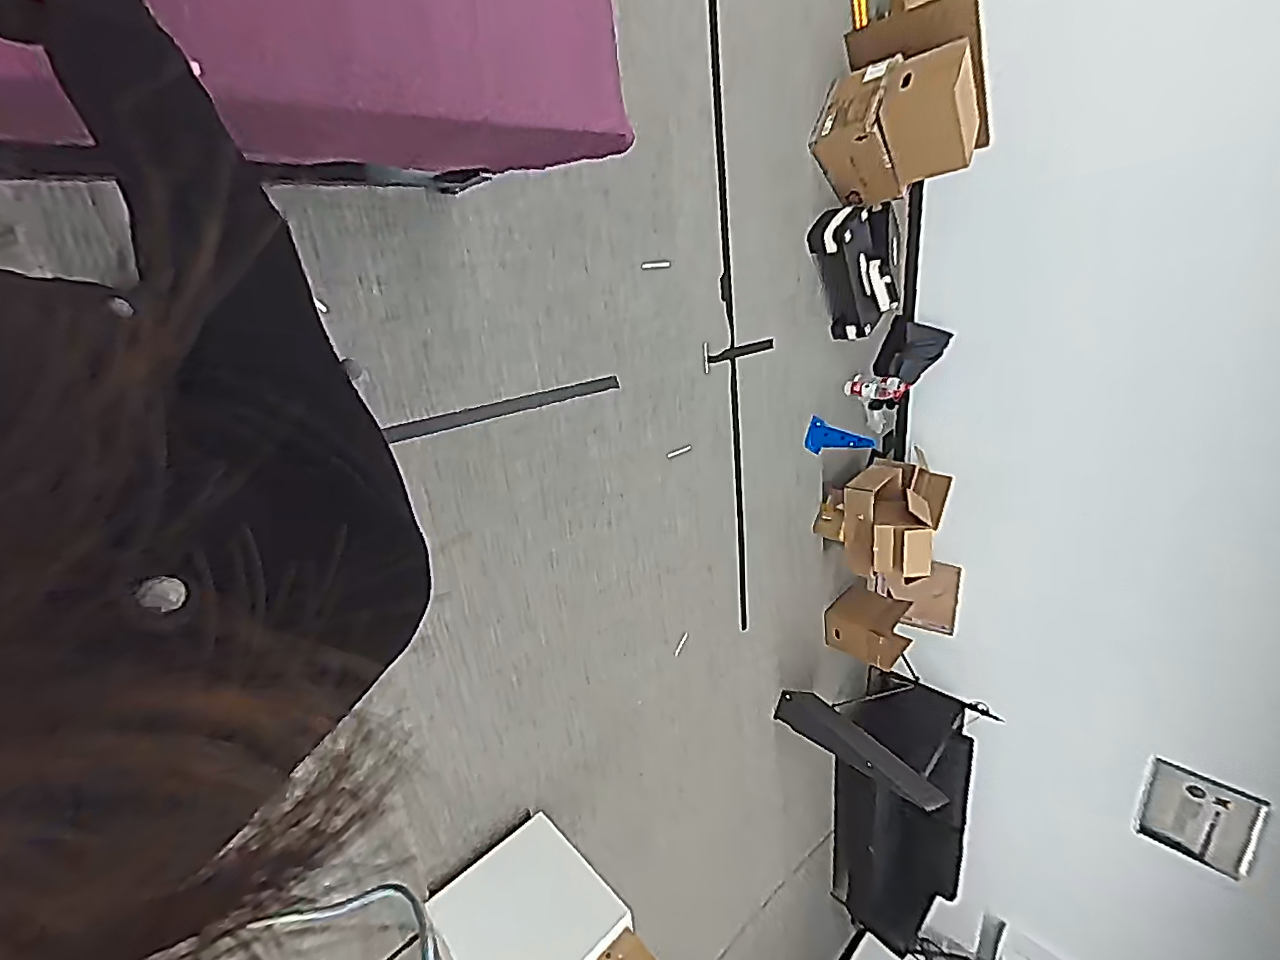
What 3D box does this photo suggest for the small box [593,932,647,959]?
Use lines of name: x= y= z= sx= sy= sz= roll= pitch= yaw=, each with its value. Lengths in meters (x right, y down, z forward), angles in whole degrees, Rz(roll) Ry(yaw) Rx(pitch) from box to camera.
small box: x=-0.054 y=1.665 z=1.787 sx=0.168 sy=0.176 sz=0.179 roll=-22 pitch=117 yaw=-38
